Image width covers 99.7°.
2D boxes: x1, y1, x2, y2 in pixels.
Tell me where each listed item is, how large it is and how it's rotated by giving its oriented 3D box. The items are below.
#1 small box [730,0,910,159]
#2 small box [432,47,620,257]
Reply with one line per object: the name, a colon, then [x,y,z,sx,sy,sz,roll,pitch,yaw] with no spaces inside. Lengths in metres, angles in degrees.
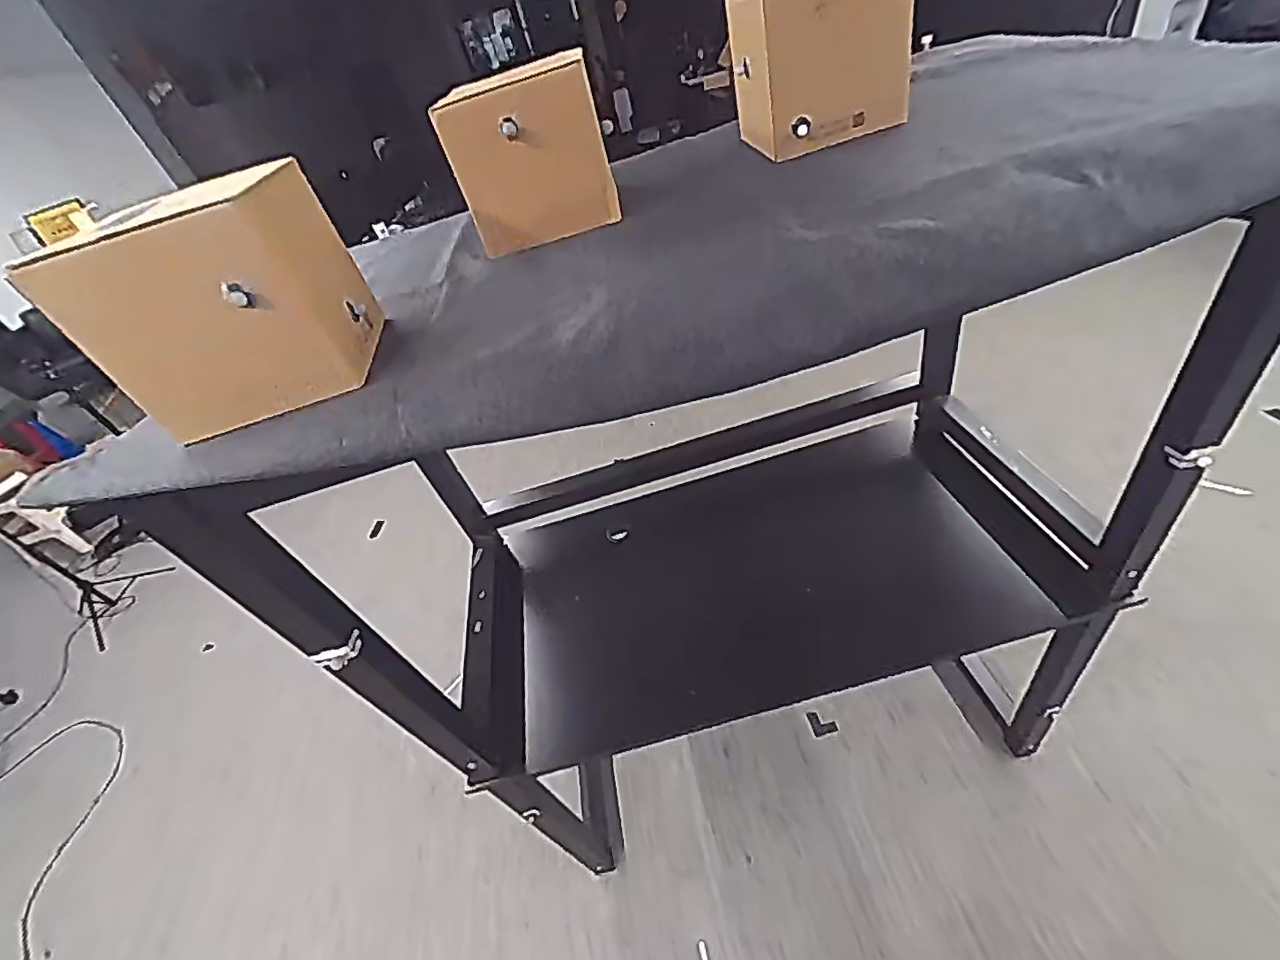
small box: [0.222,-0.527,0.678,0.168,0.176,0.179,-15,41,4]
small box: [-0.126,-0.409,0.680,0.179,0.176,0.168,-14,42,6]
